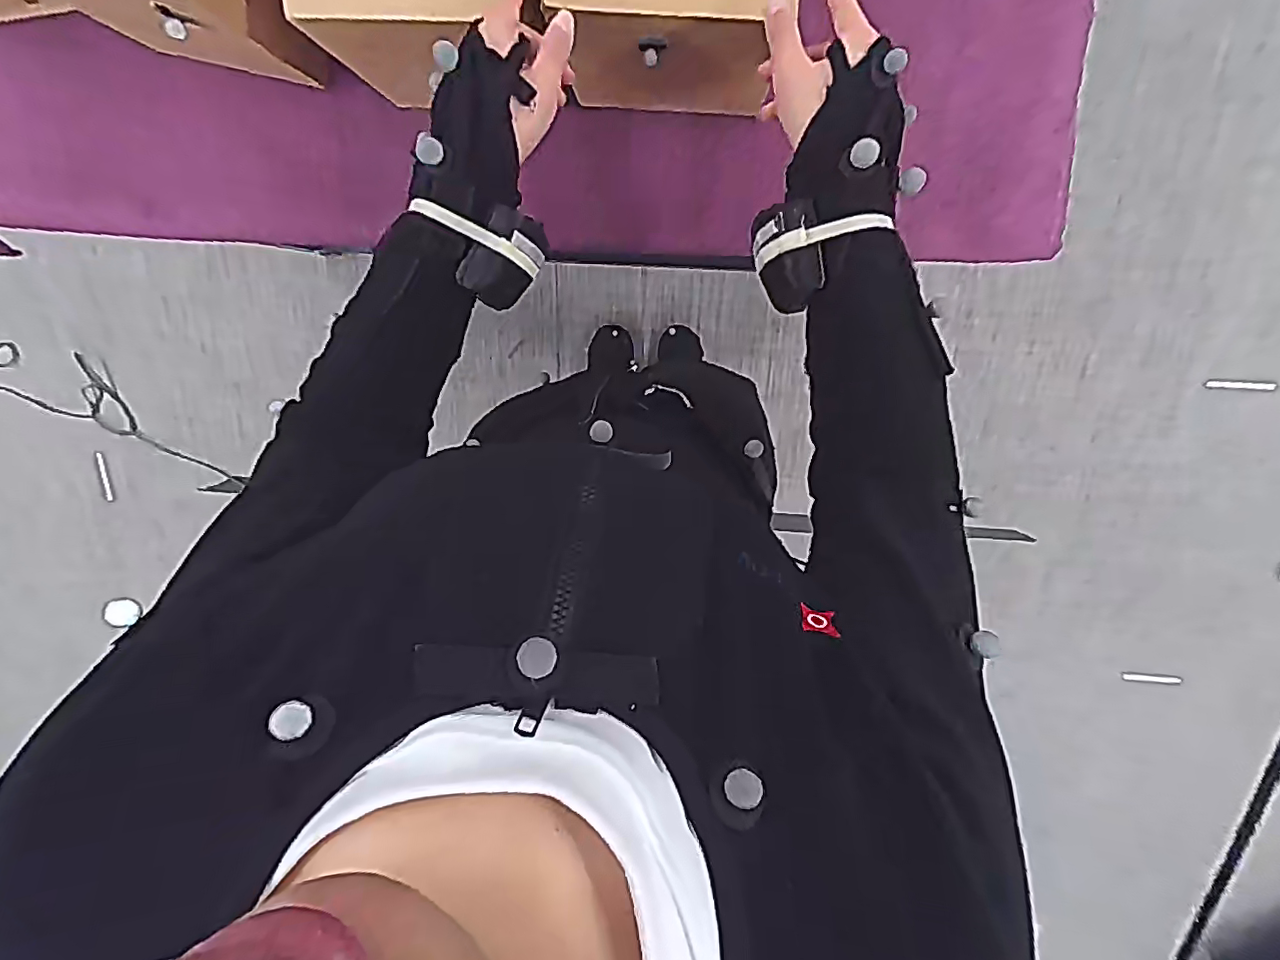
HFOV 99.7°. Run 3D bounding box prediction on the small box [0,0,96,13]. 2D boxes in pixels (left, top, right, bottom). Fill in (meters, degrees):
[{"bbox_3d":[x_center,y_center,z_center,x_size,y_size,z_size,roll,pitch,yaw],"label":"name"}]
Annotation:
[{"bbox_3d":[-0.606,-0.515,0.432,0.168,0.176,0.179,-5,107,5],"label":"small box"}]
